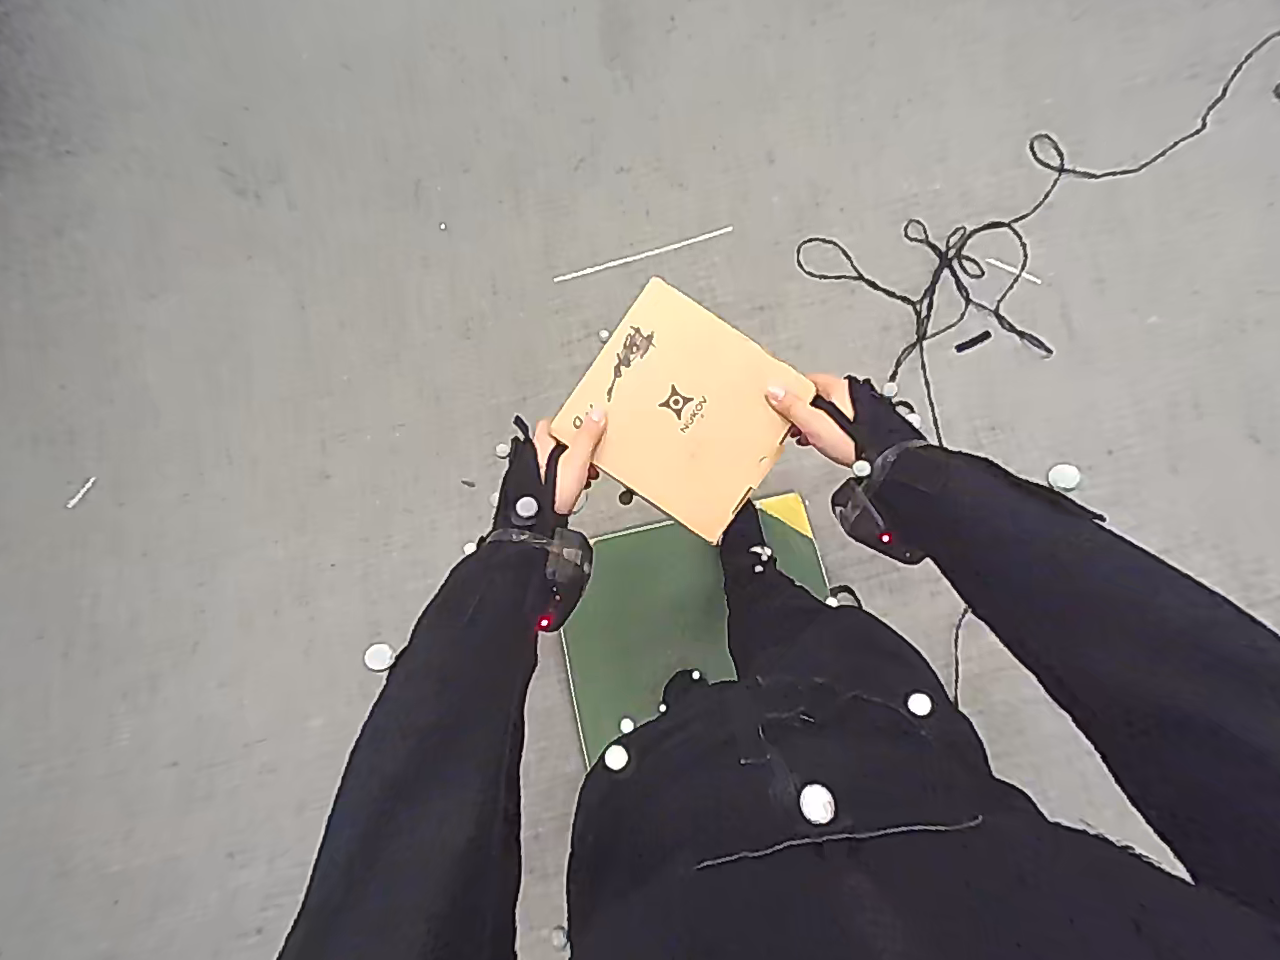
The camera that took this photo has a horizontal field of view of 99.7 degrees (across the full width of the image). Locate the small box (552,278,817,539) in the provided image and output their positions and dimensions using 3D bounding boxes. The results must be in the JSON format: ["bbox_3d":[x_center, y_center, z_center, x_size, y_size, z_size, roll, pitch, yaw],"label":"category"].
[{"bbox_3d":[0.038,-0.062,0.547,0.179,0.176,0.168,35,88,0],"label":"small box"}]
